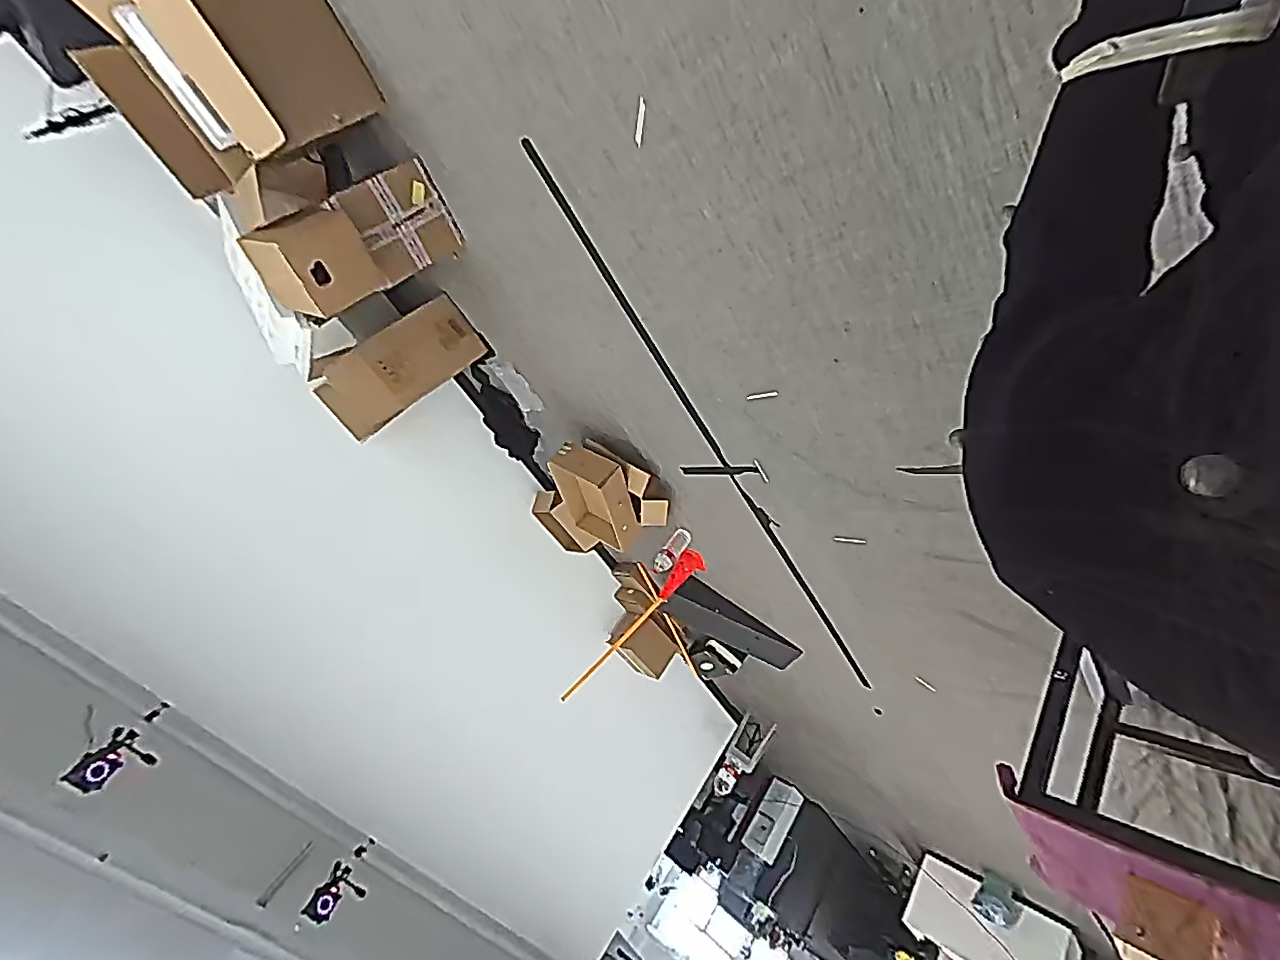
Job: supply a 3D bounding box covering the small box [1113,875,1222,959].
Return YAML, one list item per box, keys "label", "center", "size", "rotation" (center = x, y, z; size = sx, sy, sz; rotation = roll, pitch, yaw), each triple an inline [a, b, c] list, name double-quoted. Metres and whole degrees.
- label: "small box"
  center: [1.350, 1.157, 1.382]
  size: [0.179, 0.176, 0.168]
  rotation: [1, 134, 51]
